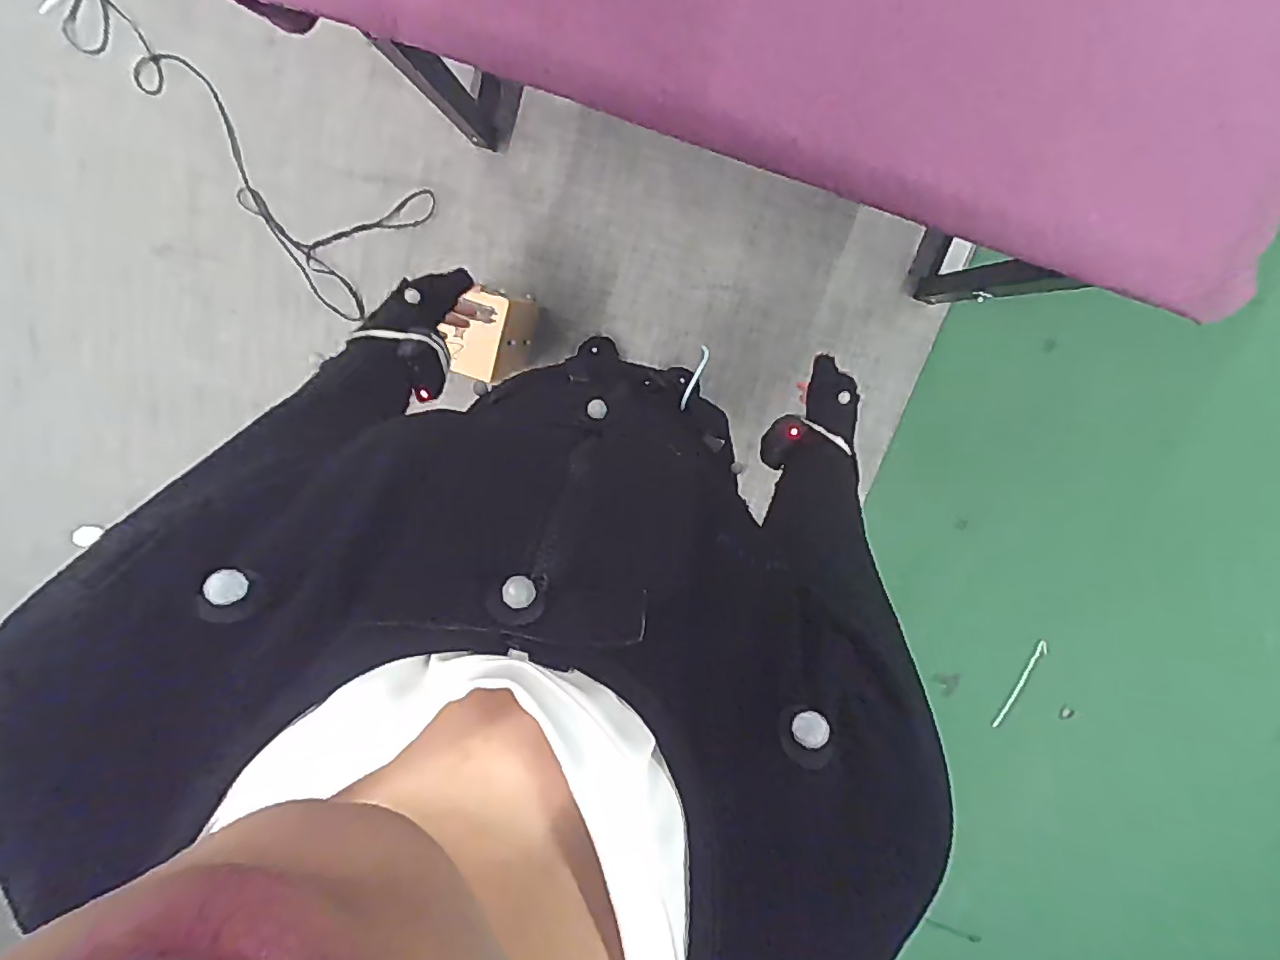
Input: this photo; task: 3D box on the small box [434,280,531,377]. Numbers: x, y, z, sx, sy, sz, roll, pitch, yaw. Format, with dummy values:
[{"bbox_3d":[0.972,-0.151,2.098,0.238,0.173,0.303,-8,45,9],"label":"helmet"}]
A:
[{"bbox_3d":[-0.377,-0.370,1.324,0.168,0.176,0.179,19,106,-3],"label":"small box"}]
